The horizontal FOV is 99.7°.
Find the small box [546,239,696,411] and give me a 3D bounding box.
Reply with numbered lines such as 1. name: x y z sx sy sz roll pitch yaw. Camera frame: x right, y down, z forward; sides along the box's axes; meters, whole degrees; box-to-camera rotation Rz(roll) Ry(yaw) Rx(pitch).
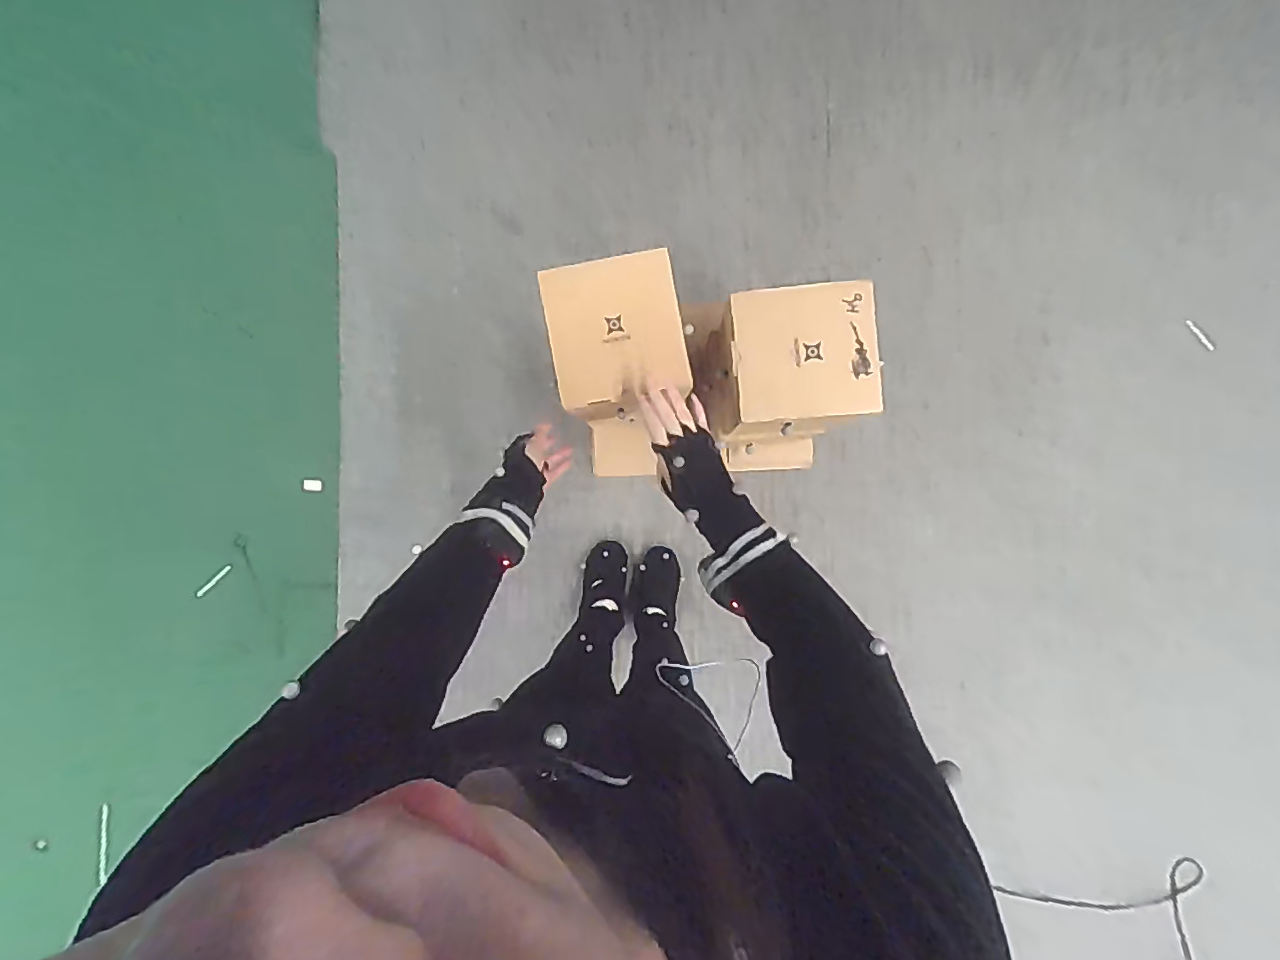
1. small box: -0.025 -0.201 0.748 0.168 0.176 0.179 -10 92 0
